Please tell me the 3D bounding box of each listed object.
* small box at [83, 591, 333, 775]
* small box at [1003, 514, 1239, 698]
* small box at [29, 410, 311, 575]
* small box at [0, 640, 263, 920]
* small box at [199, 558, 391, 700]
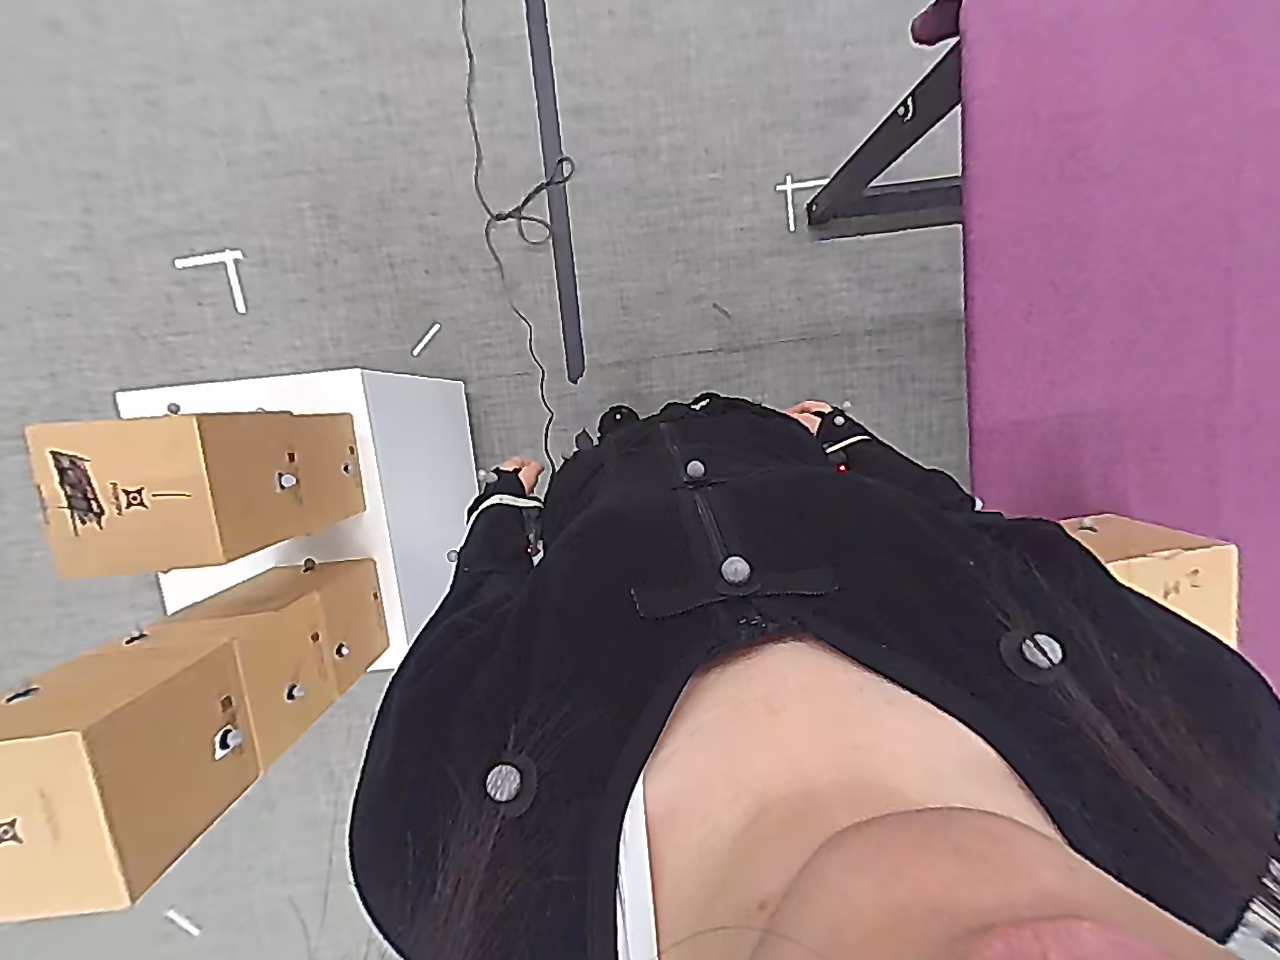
[{"bbox_3d":[-0.517,0.249,0.680,0.179,0.176,0.168,-7,98,0],"label":"small box"},{"bbox_3d":[0.615,0.155,0.713,0.168,0.176,0.179,-8,98,-1],"label":"small box"},{"bbox_3d":[-0.533,0.005,0.642,0.179,0.176,0.168,-4,99,-2],"label":"small box"},{"bbox_3d":[-0.516,0.271,0.519,0.179,0.176,0.168,-7,99,0],"label":"small box"},{"bbox_3d":[-0.521,0.227,0.840,0.179,0.176,0.168,-5,99,1],"label":"small box"}]
